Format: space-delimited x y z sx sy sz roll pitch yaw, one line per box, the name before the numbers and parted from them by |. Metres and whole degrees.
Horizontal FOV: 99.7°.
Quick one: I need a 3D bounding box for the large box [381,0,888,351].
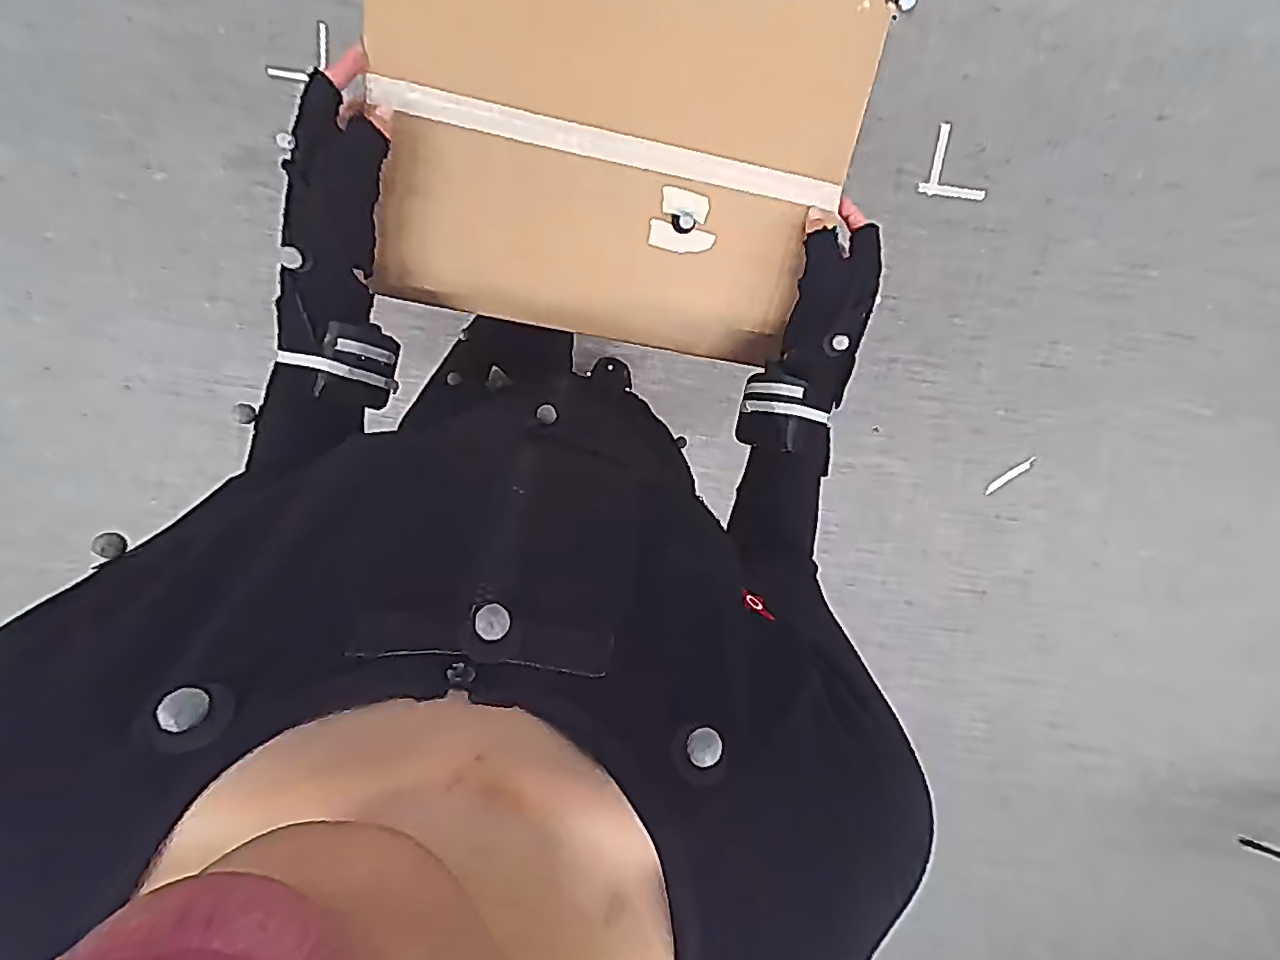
large box | -0.029 -0.349 0.601 0.408 0.320 0.320 8 112 -9
